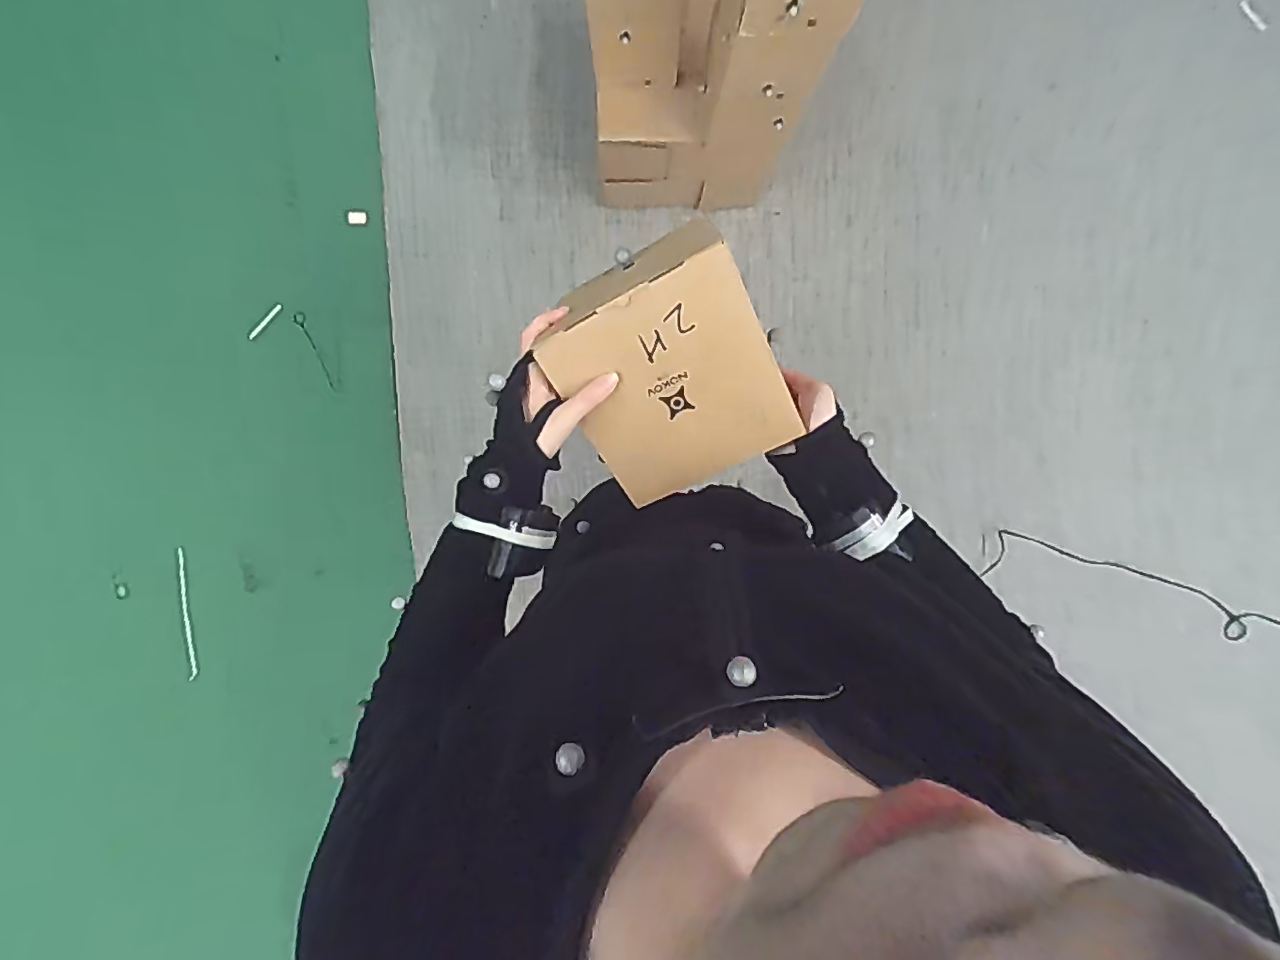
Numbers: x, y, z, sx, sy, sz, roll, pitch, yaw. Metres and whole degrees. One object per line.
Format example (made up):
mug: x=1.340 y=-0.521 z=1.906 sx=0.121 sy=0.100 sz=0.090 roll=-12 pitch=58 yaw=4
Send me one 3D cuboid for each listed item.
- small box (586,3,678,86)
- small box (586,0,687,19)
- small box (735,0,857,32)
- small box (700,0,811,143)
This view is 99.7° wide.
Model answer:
small box: x=-0.015 y=-0.897 z=1.029 sx=0.168 sy=0.176 sz=0.179 roll=-1 pitch=92 yaw=1
small box: x=-0.010 y=-0.884 z=0.863 sx=0.179 sy=0.176 sz=0.168 roll=-2 pitch=93 yaw=1
small box: x=0.221 y=-0.744 z=0.711 sx=0.168 sy=0.176 sz=0.179 roll=-1 pitch=94 yaw=-1
small box: x=0.215 y=-0.775 z=1.036 sx=0.179 sy=0.176 sz=0.168 roll=-3 pitch=93 yaw=0
